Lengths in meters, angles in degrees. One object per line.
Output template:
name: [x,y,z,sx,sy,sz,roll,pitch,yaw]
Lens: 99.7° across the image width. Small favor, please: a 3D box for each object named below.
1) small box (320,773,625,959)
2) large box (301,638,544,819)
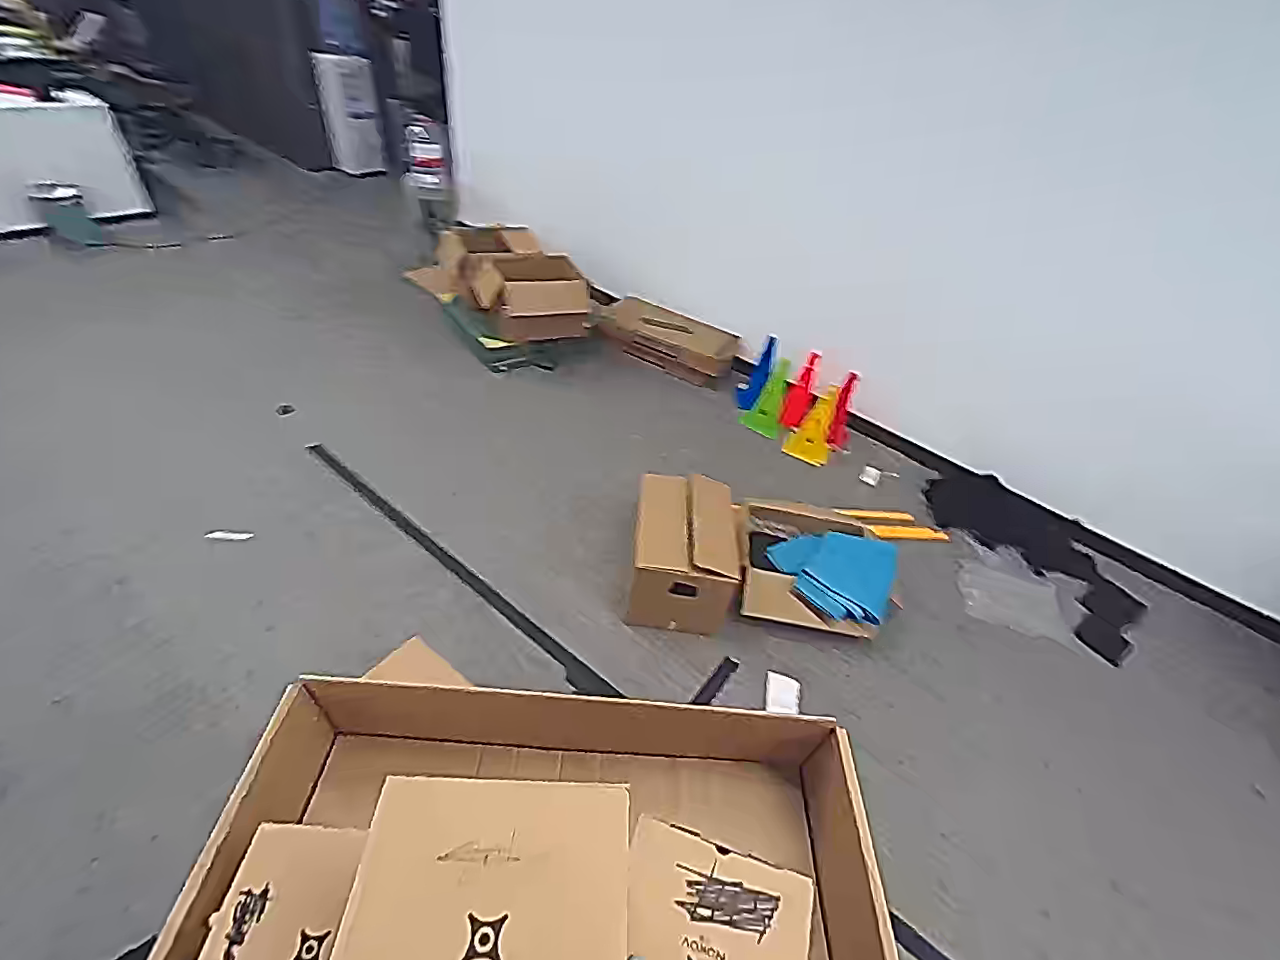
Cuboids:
small box: [-0.098,0.314,0.355,0.168,0.176,0.179,4,44,-5]
large box: [-0.479,0.654,1.246,0.408,0.320,0.320,31,47,20]
